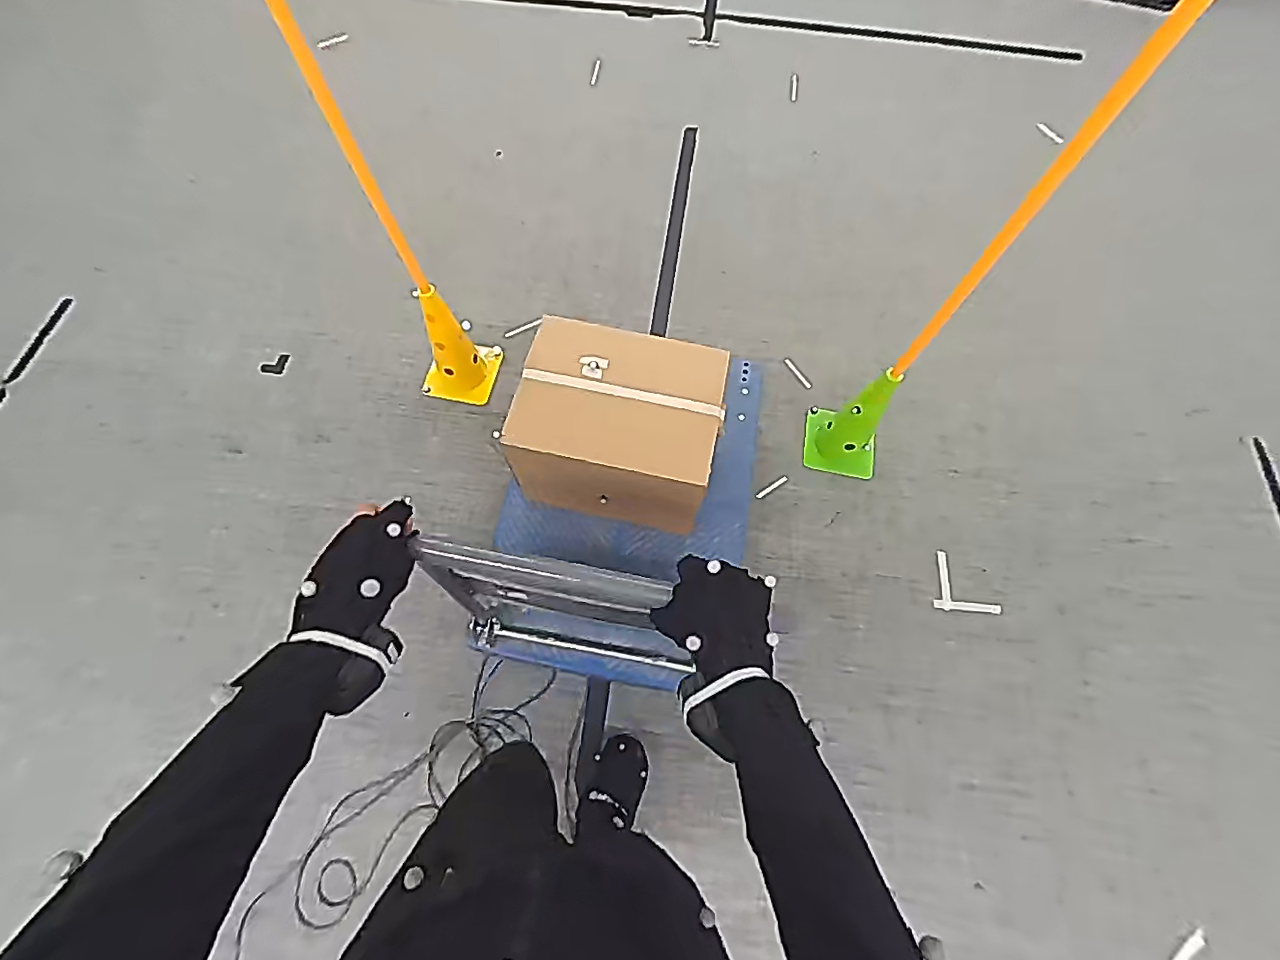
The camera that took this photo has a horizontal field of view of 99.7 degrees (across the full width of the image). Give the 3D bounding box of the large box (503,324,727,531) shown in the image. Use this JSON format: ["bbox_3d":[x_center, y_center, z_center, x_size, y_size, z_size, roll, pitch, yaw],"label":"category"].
[{"bbox_3d":[-0.041,-0.103,1.224,0.408,0.320,0.320,12,67,4],"label":"large box"}]

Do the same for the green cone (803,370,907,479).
[{"bbox_3d":[0.590,-0.172,1.423,0.202,0.368,0.200,12,68,2],"label":"green cone"}]
